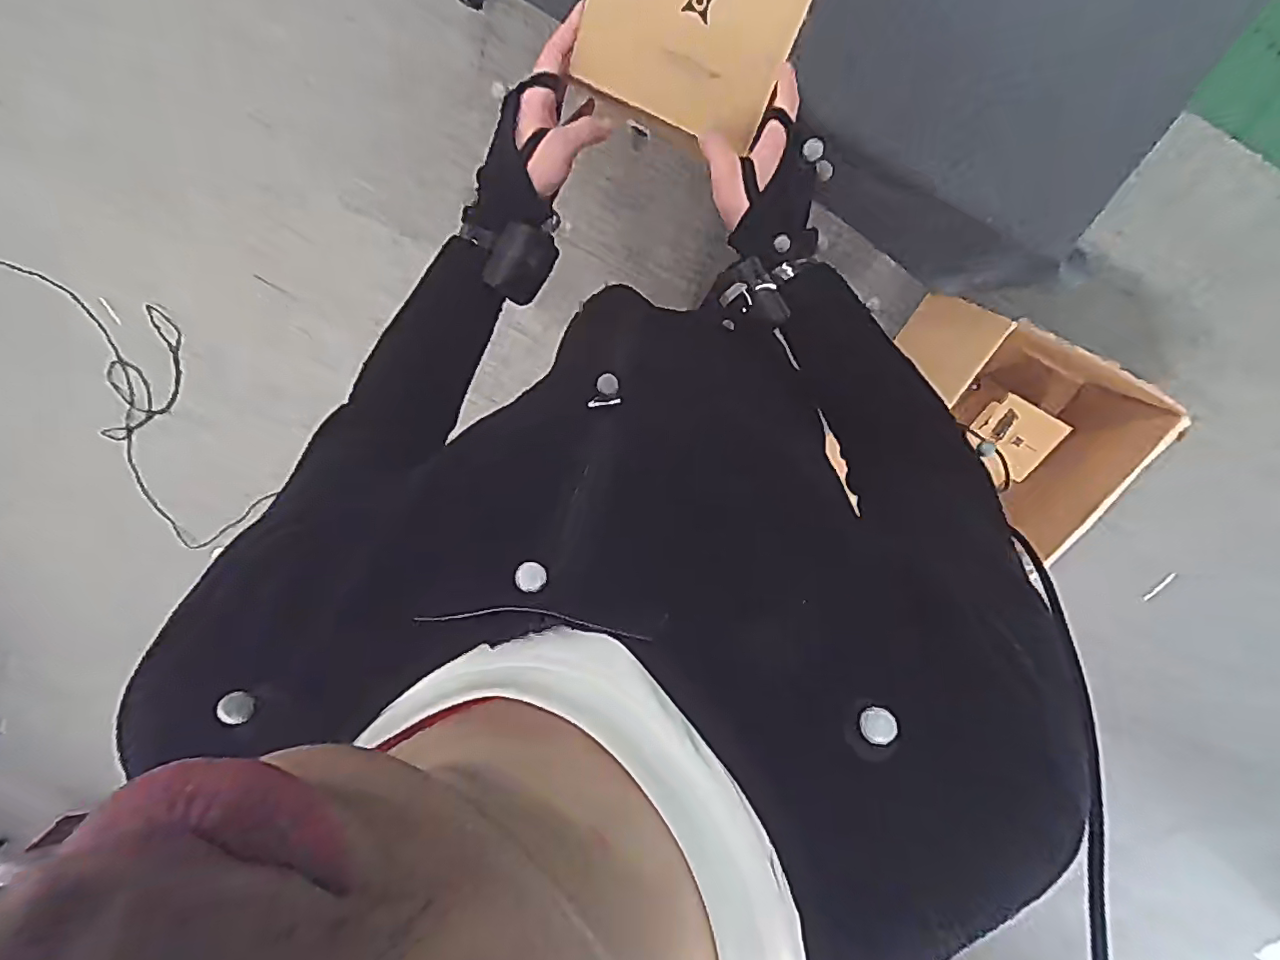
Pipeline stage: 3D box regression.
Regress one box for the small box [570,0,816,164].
[{"bbox_3d":[0.045,-0.407,0.477,0.168,0.176,0.179,19,115,-12],"label":"small box"}]
